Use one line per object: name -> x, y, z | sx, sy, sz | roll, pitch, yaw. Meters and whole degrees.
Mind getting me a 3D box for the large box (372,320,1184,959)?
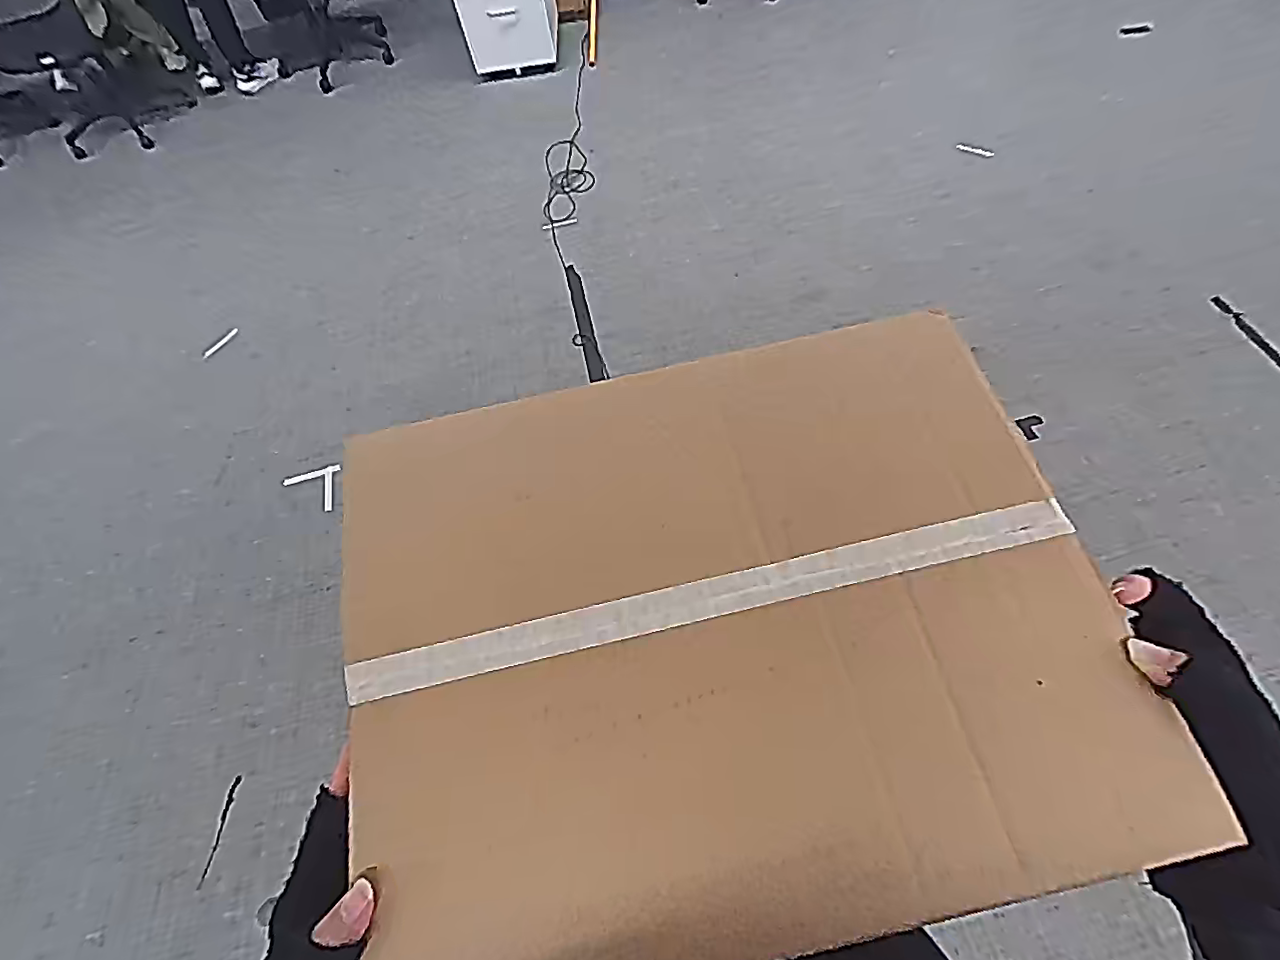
large box -> 0.051, 0.127, 0.452 | 0.408, 0.320, 0.320 | -13, 67, -1
